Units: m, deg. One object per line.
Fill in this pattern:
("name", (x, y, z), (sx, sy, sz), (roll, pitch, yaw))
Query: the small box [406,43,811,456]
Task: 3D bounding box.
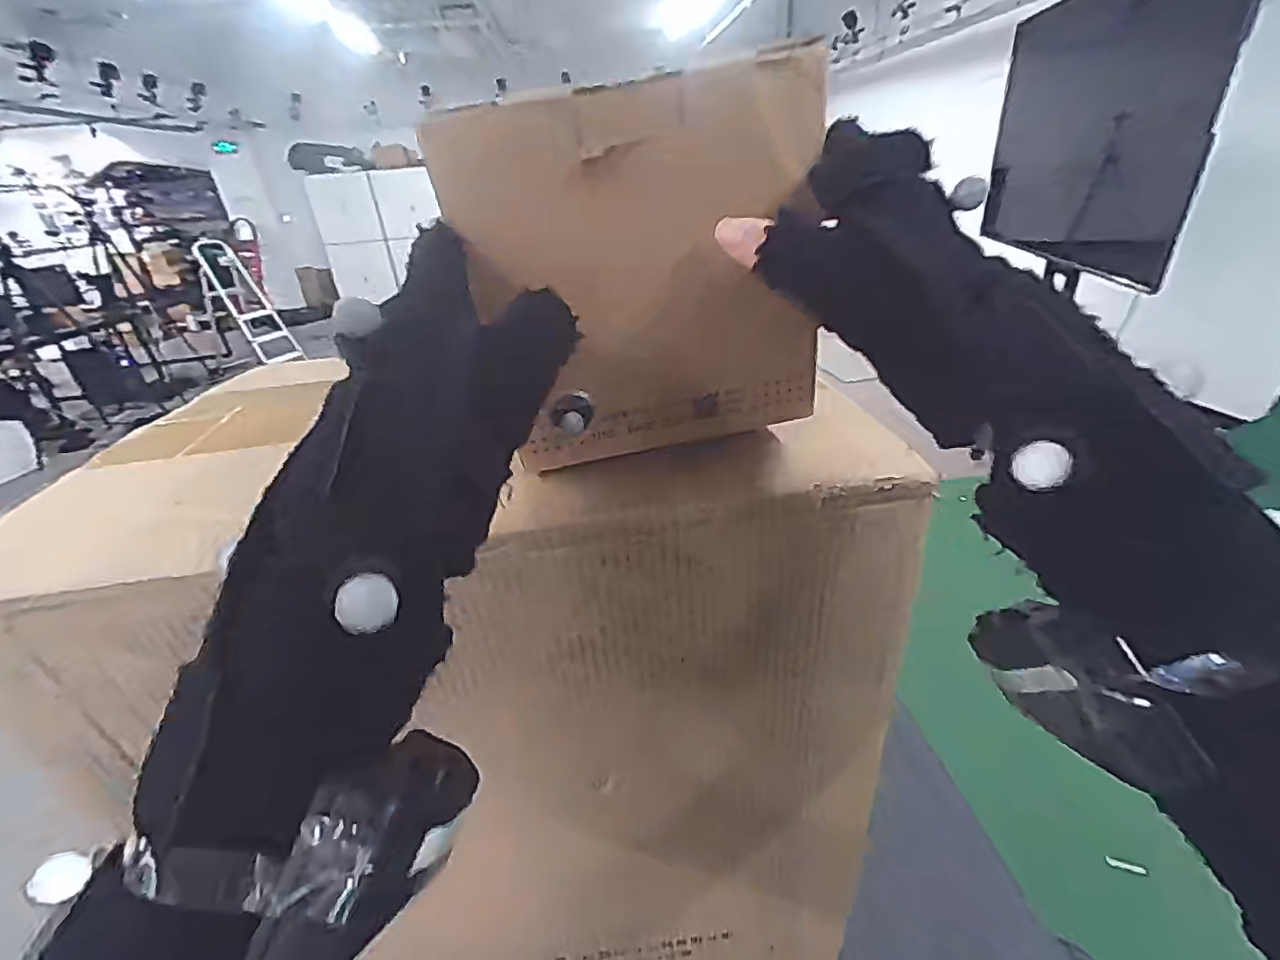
("small box", (-0.008, -0.127, 0.319), (0.168, 0.176, 0.179), (-12, 35, -1))
